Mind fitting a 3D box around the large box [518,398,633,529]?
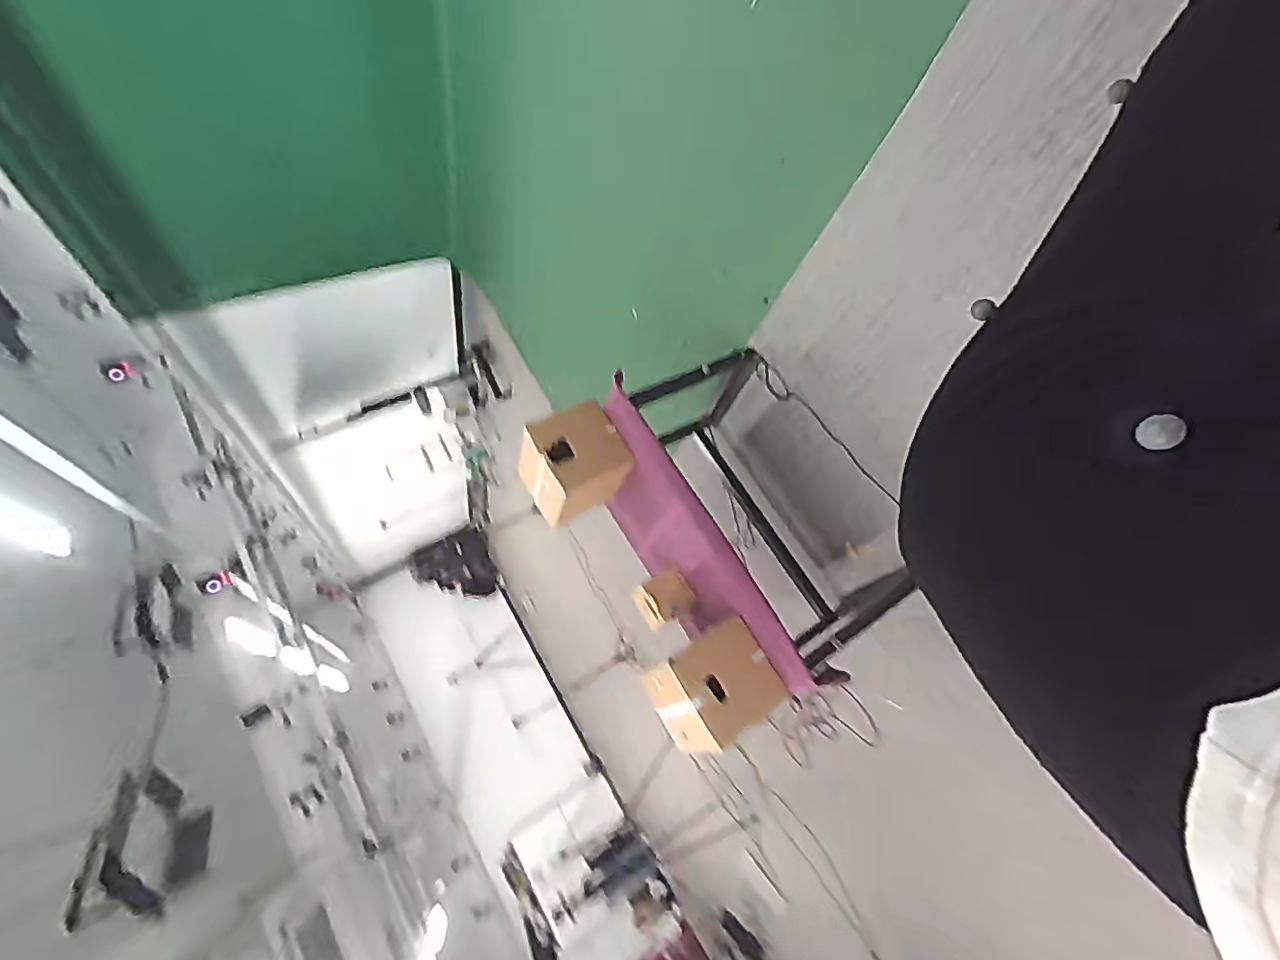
[{"bbox_3d":[-0.272,-0.060,2.169,0.320,0.320,0.408,56,153,13],"label":"large box"}]
